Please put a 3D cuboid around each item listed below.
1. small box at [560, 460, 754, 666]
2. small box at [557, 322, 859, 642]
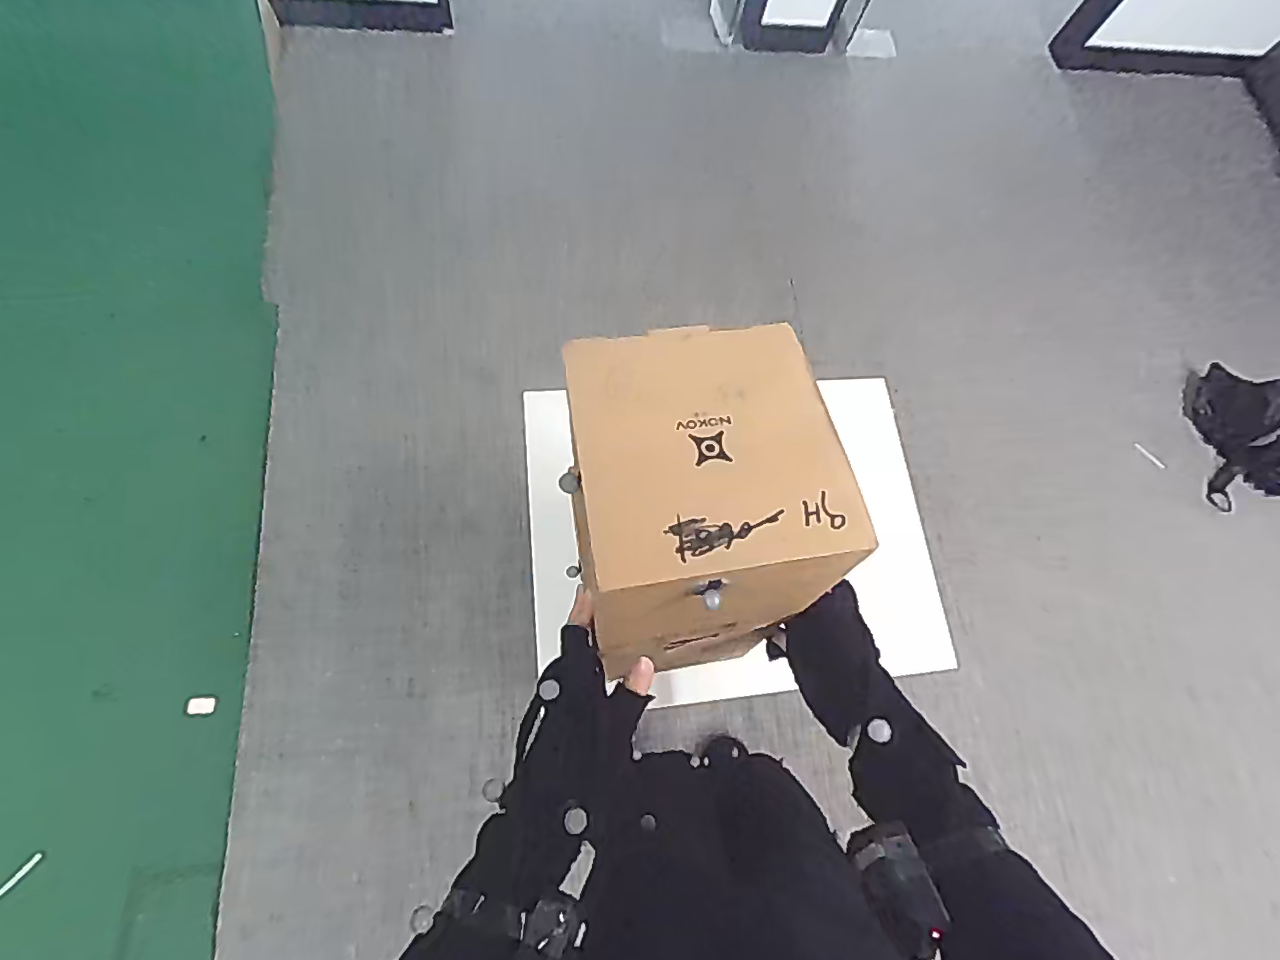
[{"bbox_3d":[0.014,0.084,0.555,0.168,0.176,0.179,-7,62,-8],"label":"small box"},{"bbox_3d":[0.029,0.007,0.413,0.168,0.176,0.179,-7,62,-8],"label":"small box"}]
